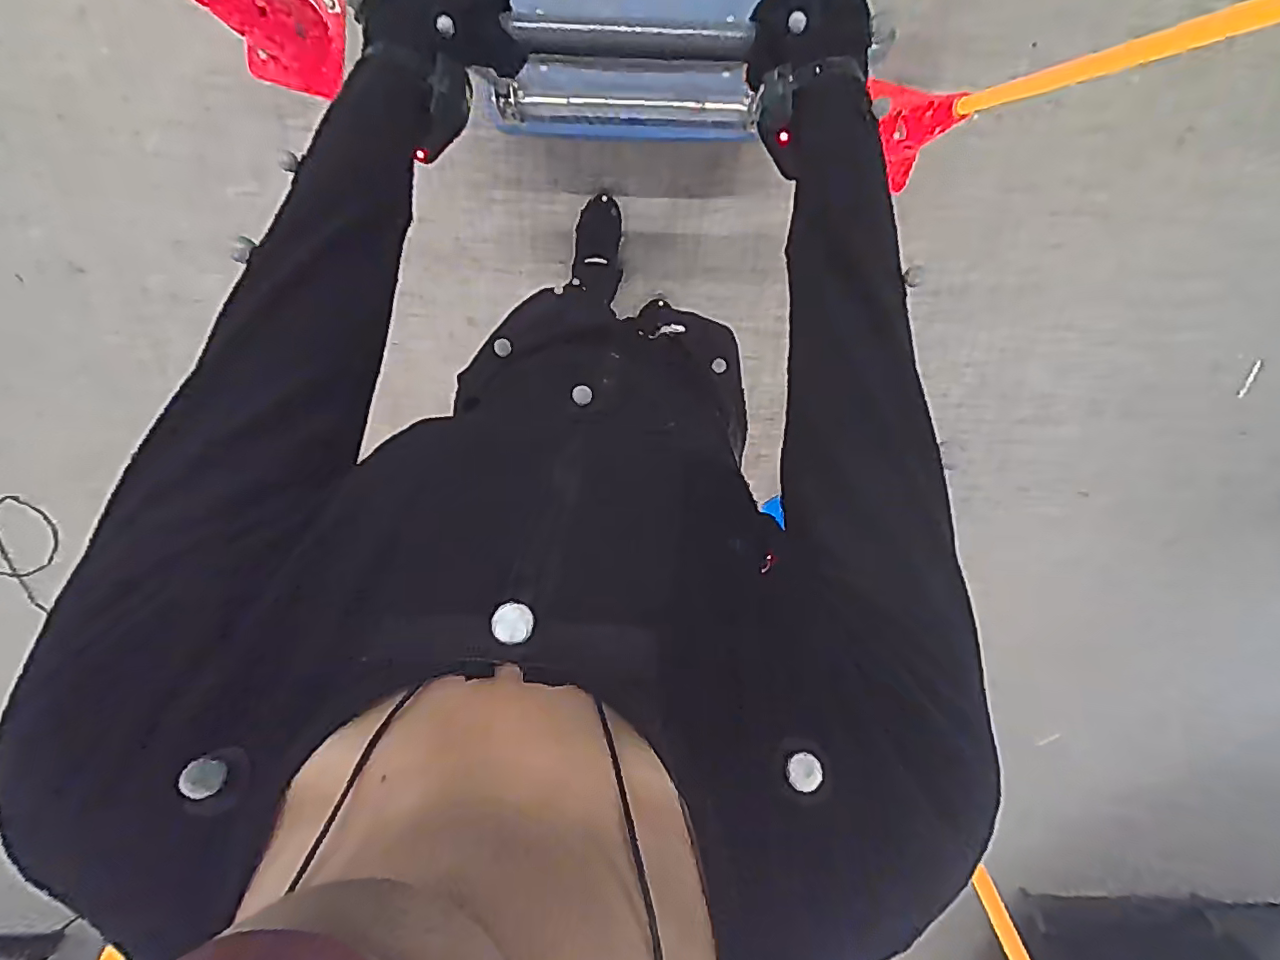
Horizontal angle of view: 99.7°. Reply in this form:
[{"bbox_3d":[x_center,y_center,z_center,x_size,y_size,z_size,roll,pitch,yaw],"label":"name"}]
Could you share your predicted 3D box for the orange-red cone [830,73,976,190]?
[{"bbox_3d":[0.550,-0.711,1.068,0.198,0.360,0.199,12,115,-5],"label":"orange-red cone"}]
